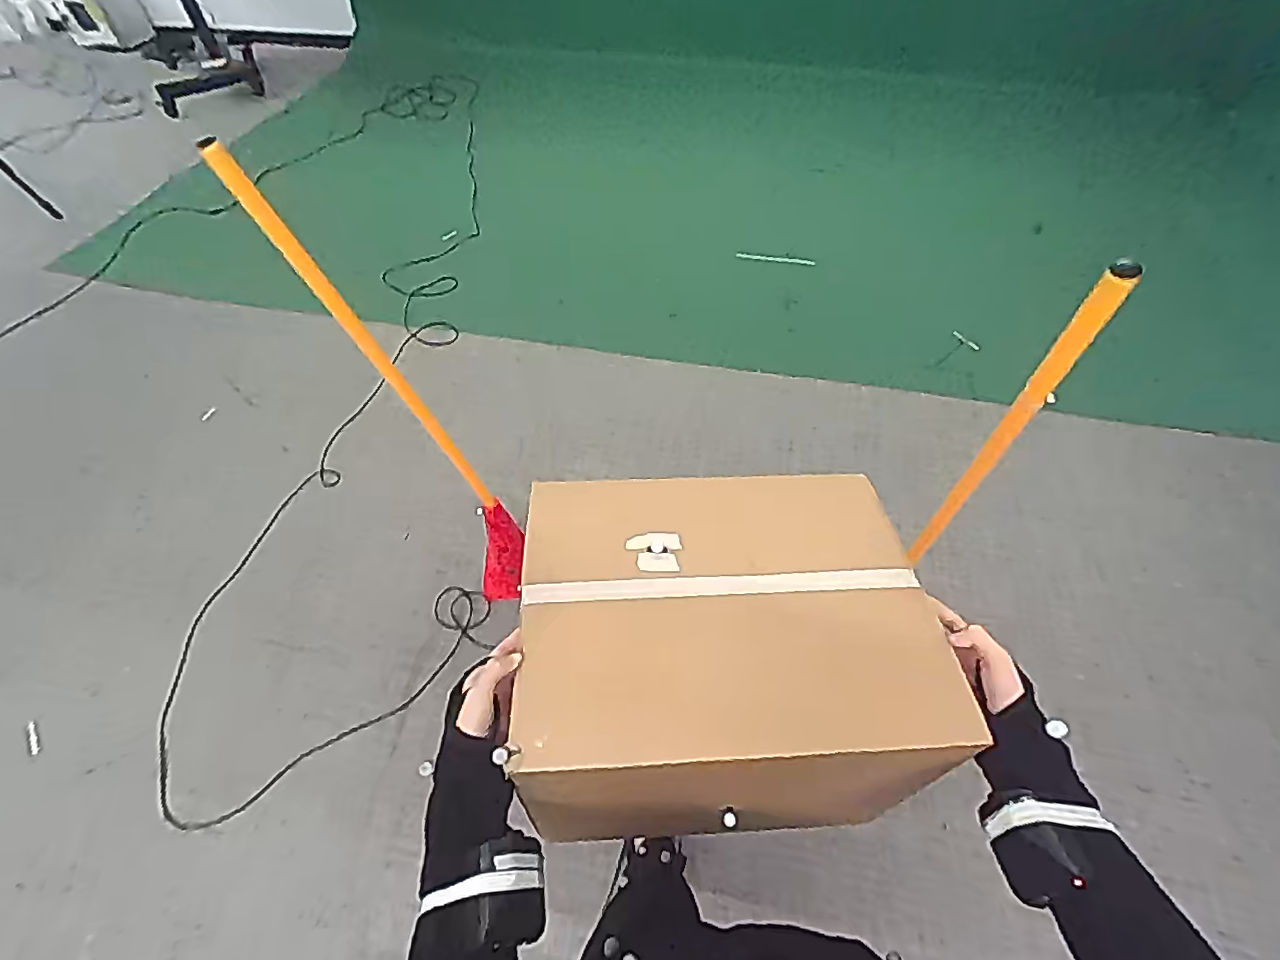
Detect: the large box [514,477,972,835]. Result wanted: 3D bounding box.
[{"bbox_3d":[0.083,0.219,0.665,0.408,0.320,0.320,-2,47,-3],"label":"large box"}]
